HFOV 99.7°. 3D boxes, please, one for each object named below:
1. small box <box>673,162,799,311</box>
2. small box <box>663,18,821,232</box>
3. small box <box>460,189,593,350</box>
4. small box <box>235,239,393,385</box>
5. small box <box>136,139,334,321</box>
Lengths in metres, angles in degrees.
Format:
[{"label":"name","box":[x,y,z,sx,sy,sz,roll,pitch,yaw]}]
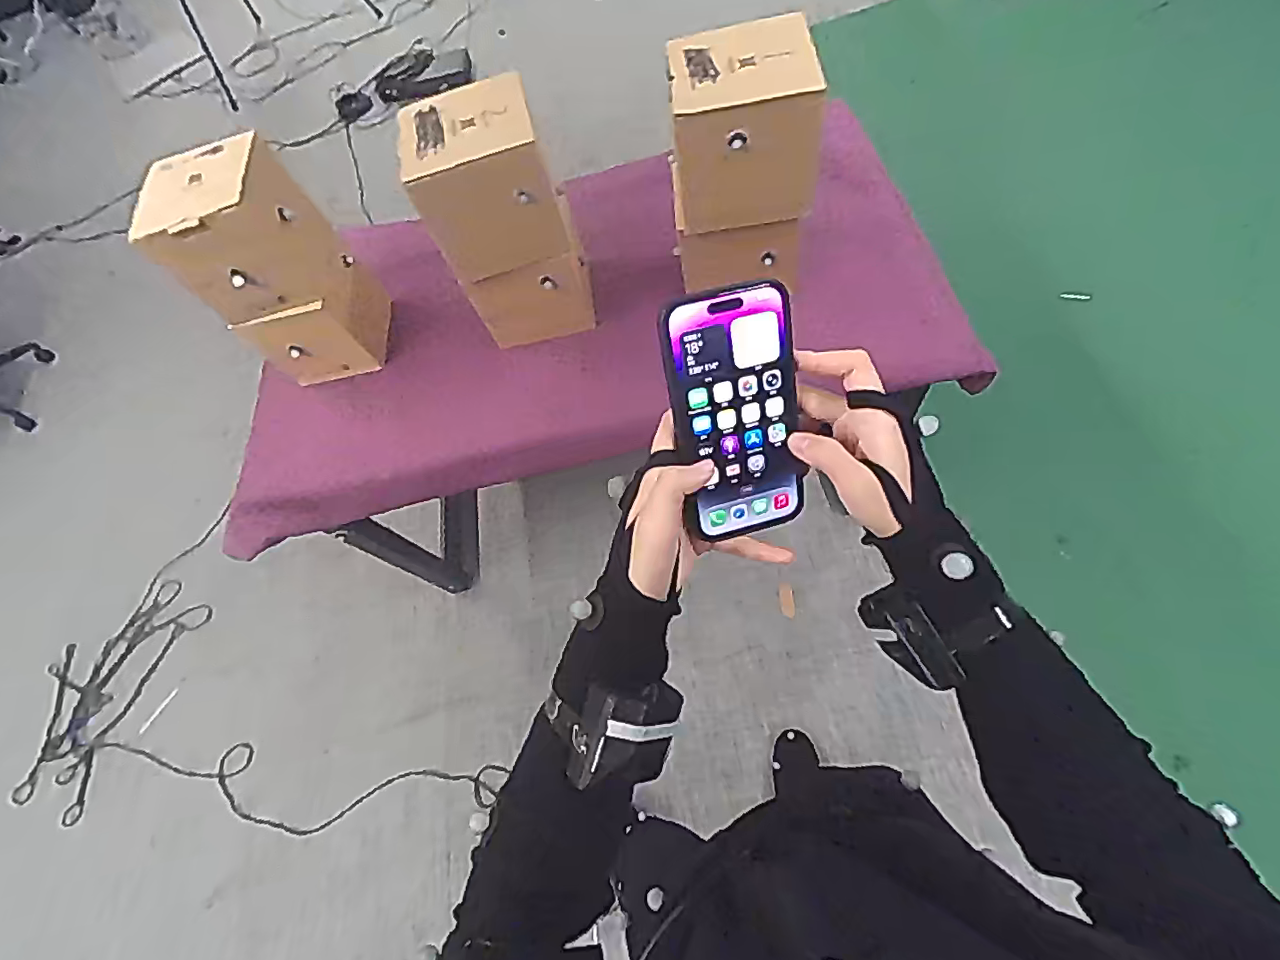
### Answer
[{"label":"small box","box":[0.152,-0.400,0.872,0.179,0.176,0.168,-6,63,10]},{"label":"small box","box":[0.131,-0.459,0.719,0.179,0.176,0.168,-6,63,8]},{"label":"small box","box":[-0.183,-0.346,0.913,0.179,0.176,0.168,-11,62,6]},{"label":"small box","box":[-0.566,-0.288,0.965,0.168,0.176,0.179,-11,63,6]},{"label":"small box","box":[-0.597,-0.366,0.824,0.168,0.176,0.179,-15,63,3]}]
